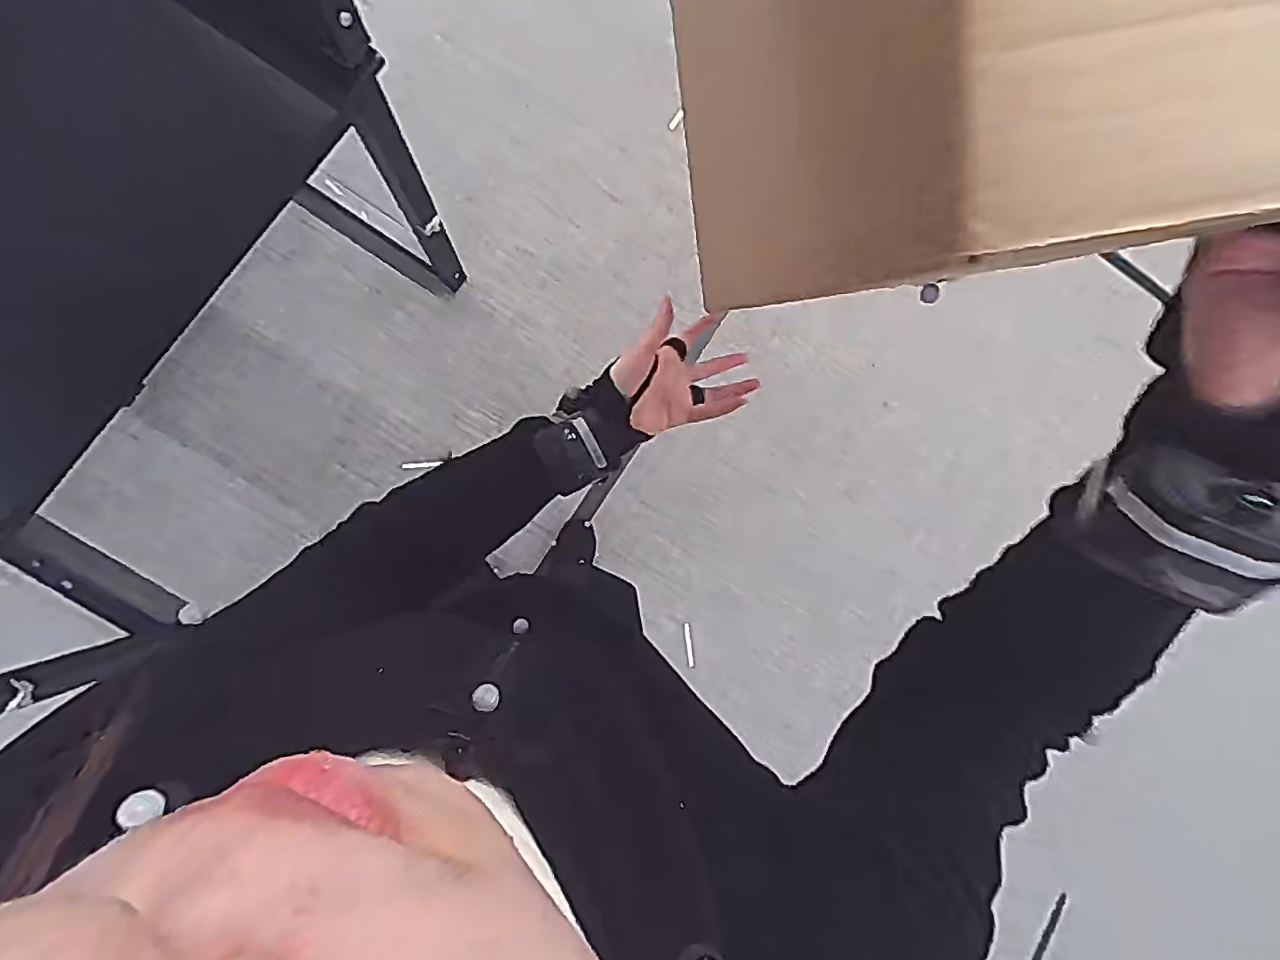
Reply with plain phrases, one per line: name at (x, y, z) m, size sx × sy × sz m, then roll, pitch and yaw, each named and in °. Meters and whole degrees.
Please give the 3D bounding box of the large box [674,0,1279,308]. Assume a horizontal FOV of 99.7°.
large box at (0.186, -0.317, 0.244) m, size 0.320 × 0.320 × 0.408 m, roll -11°, pitch 105°, yaw -5°
